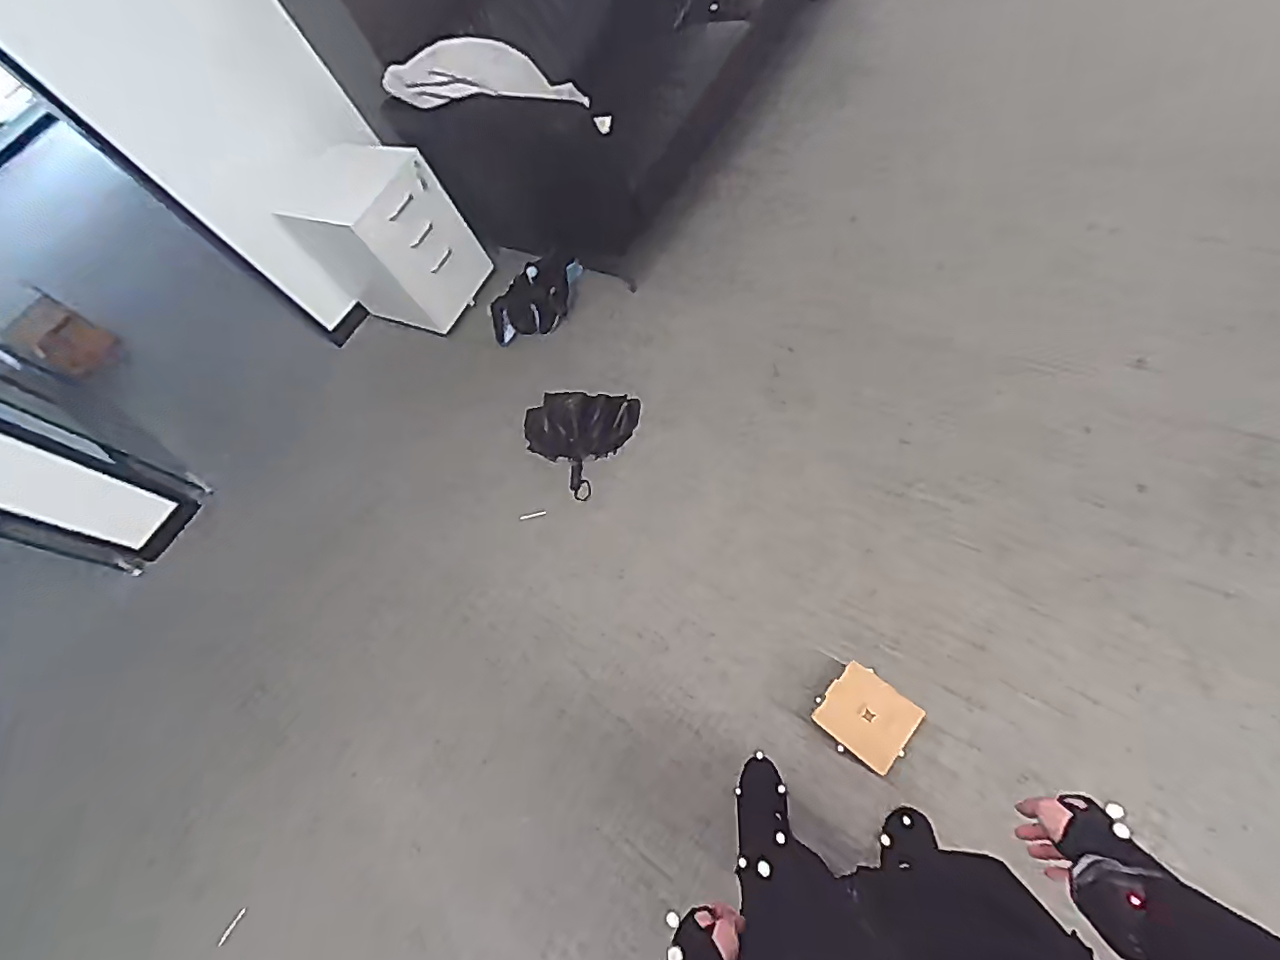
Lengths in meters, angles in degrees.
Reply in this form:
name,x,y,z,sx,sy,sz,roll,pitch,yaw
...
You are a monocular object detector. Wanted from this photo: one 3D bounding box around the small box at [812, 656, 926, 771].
name,x,y,z,sx,sy,sz,roll,pitch,yaw
small box,0.514,0.534,1.234,0.179,0.176,0.168,35,80,29
